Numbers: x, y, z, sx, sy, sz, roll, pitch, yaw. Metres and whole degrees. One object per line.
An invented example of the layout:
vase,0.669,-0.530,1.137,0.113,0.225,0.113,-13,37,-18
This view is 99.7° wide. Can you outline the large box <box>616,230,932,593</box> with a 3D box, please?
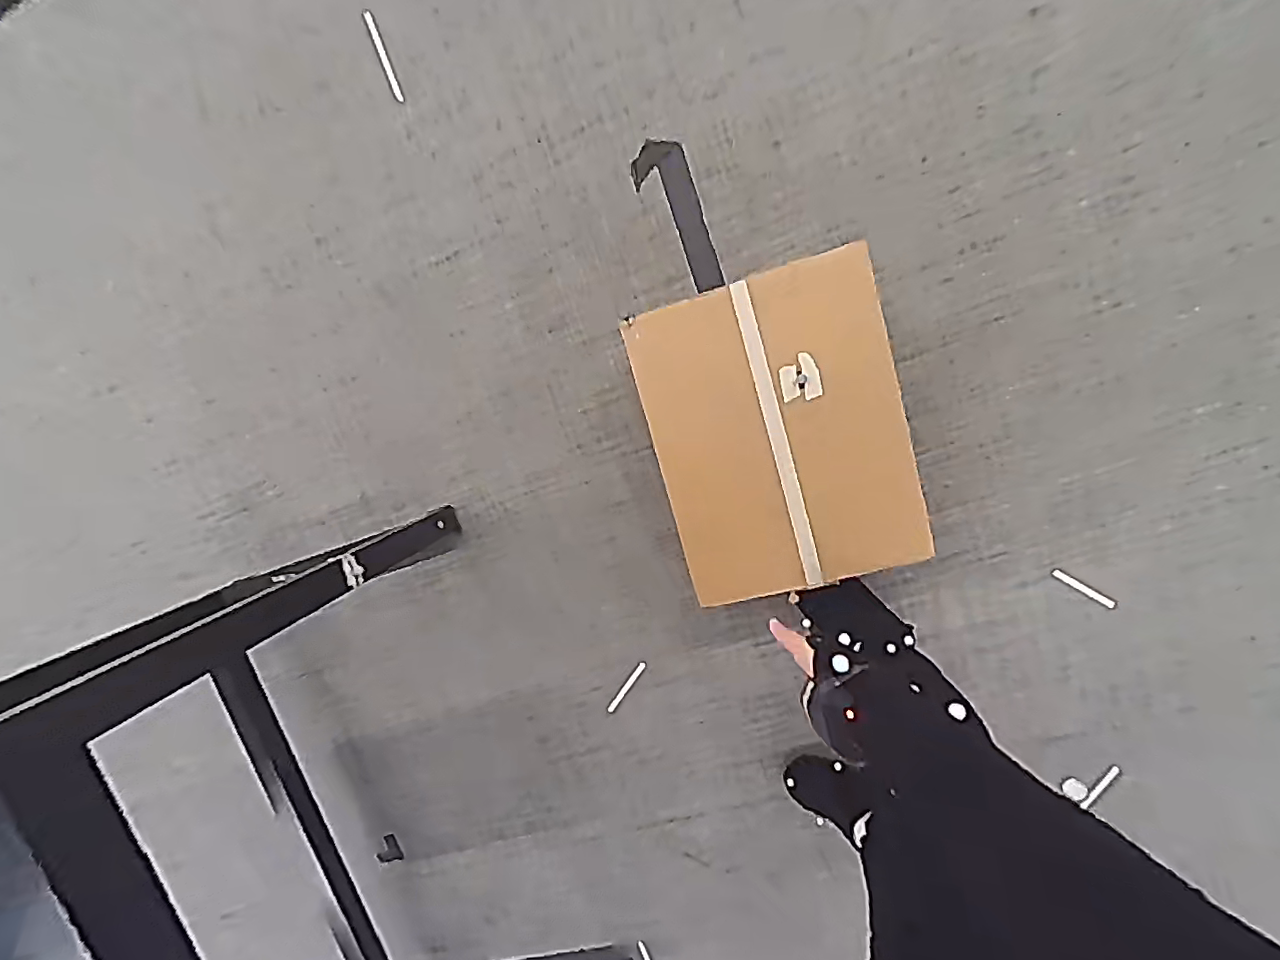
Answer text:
large box,0.194,-0.095,0.833,0.320,0.320,0.408,-15,98,11
